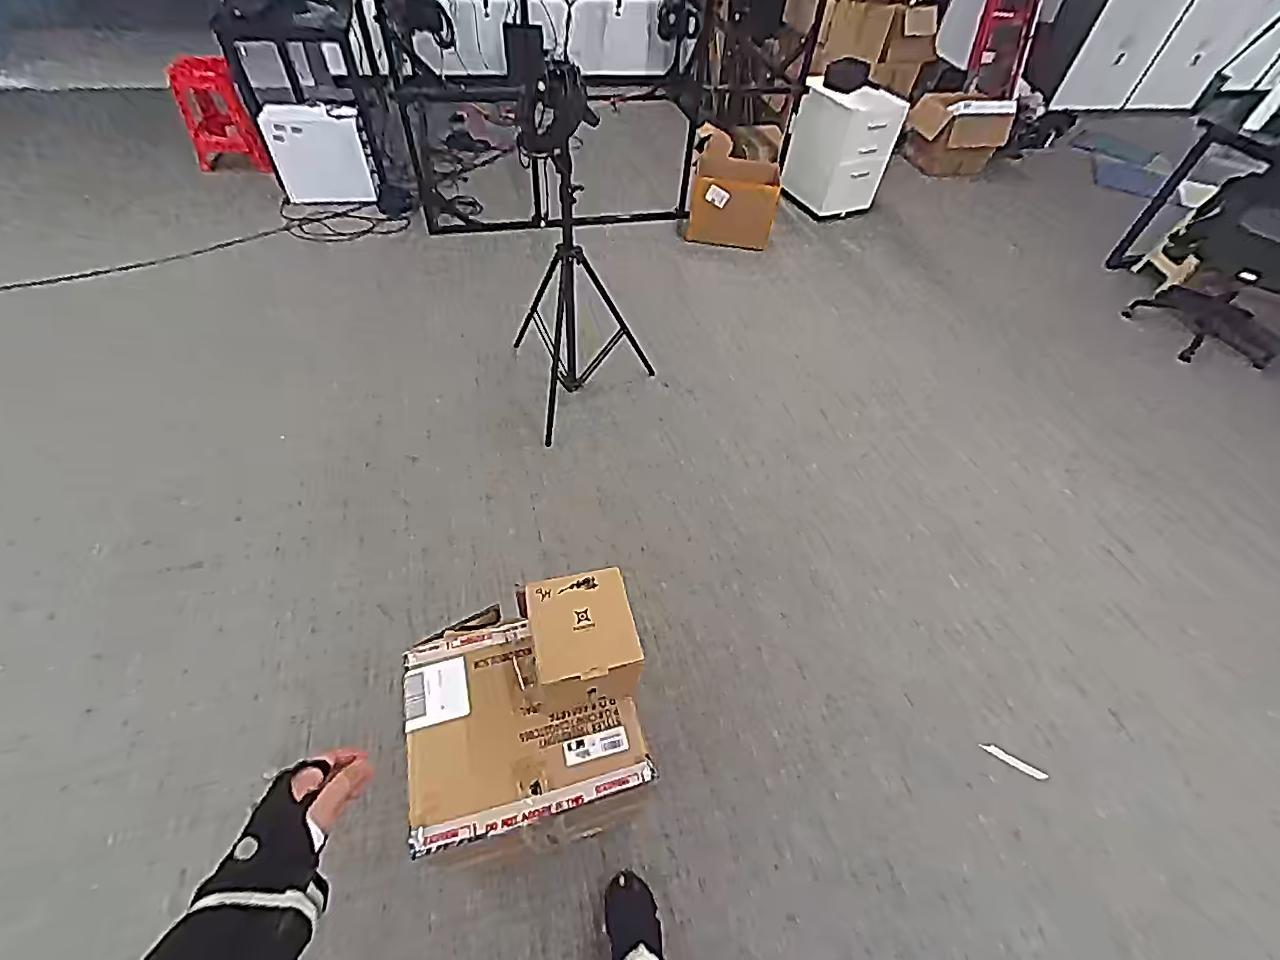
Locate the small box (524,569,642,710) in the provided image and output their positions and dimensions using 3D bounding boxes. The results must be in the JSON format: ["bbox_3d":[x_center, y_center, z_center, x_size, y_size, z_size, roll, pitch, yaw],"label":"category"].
[{"bbox_3d":[-0.103,0.283,0.940,0.168,0.176,0.179,-9,55,-15],"label":"small box"}]
